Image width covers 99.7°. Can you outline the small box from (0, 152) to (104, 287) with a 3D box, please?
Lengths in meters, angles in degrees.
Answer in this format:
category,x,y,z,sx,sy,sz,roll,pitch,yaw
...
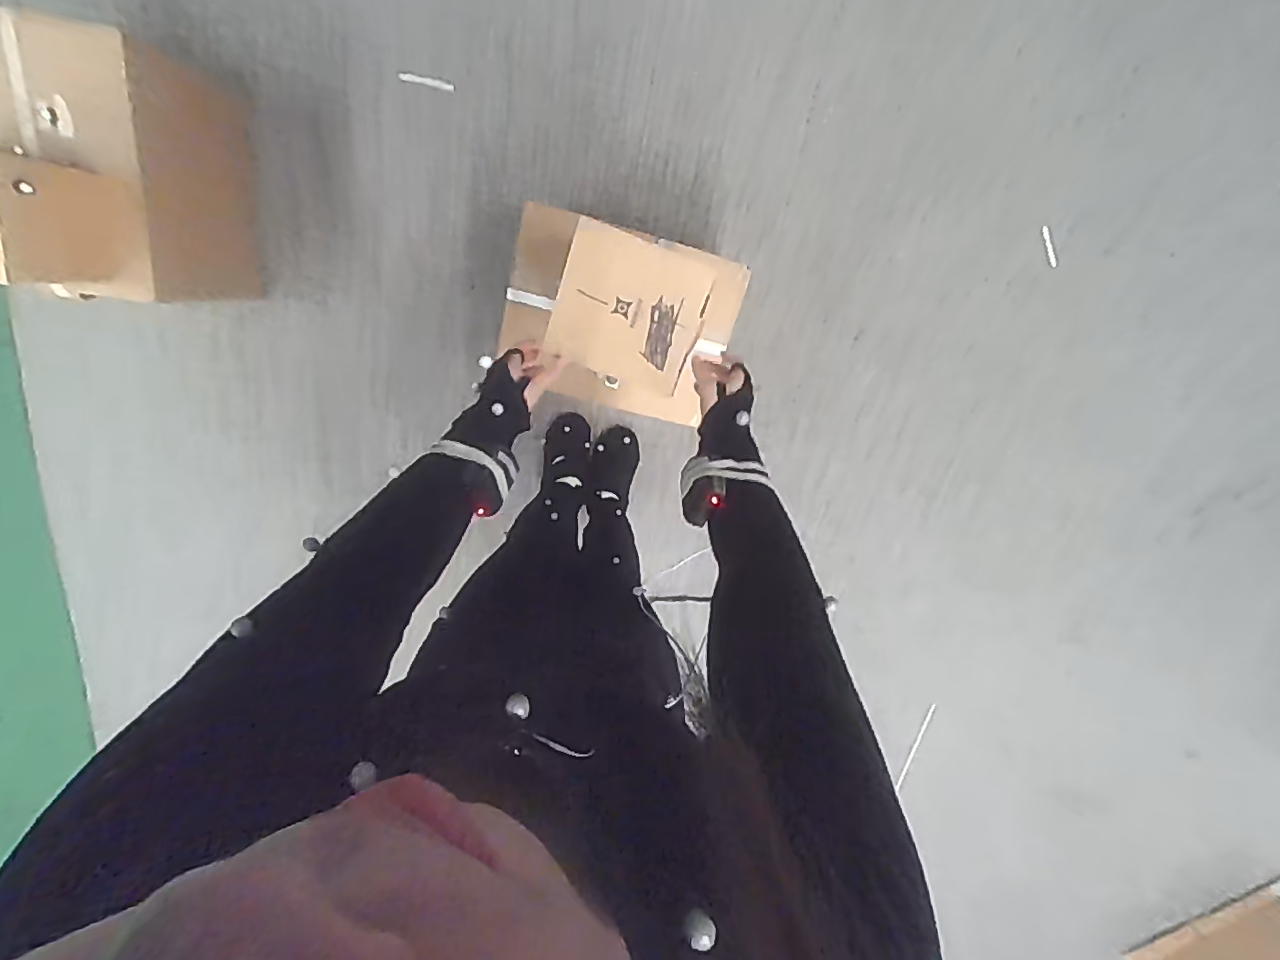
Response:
category,x,y,z,sx,sy,sz,roll,pitch,yaw
small box,-0.956,-0.394,0.804,0.168,0.176,0.179,11,107,-7

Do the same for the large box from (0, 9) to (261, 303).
category,x,y,z,sx,sy,sz,roll,pitch,yaw
large box,-0.966,-0.557,1.007,0.320,0.320,0.408,8,108,-5

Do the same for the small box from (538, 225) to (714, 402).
category,x,y,z,sx,sy,sz,roll,pitch,yaw
small box,-0.022,-0.222,0.735,0.179,0.176,0.168,19,105,-8
